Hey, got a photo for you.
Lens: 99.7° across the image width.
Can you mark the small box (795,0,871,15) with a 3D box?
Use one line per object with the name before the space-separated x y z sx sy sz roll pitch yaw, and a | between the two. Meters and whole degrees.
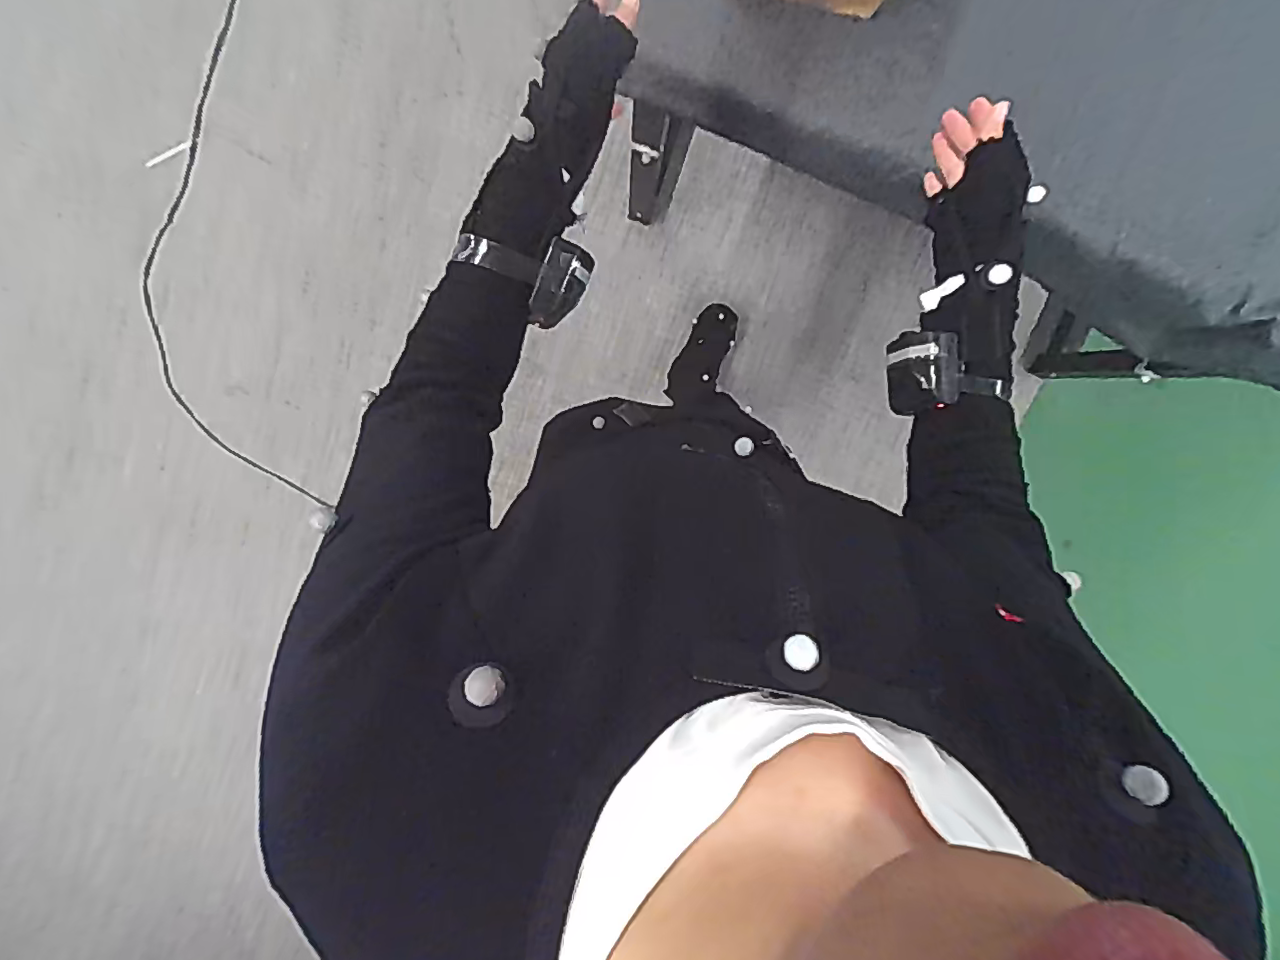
small box | 0.196 -0.611 0.529 0.179 0.176 0.168 9 101 -6
